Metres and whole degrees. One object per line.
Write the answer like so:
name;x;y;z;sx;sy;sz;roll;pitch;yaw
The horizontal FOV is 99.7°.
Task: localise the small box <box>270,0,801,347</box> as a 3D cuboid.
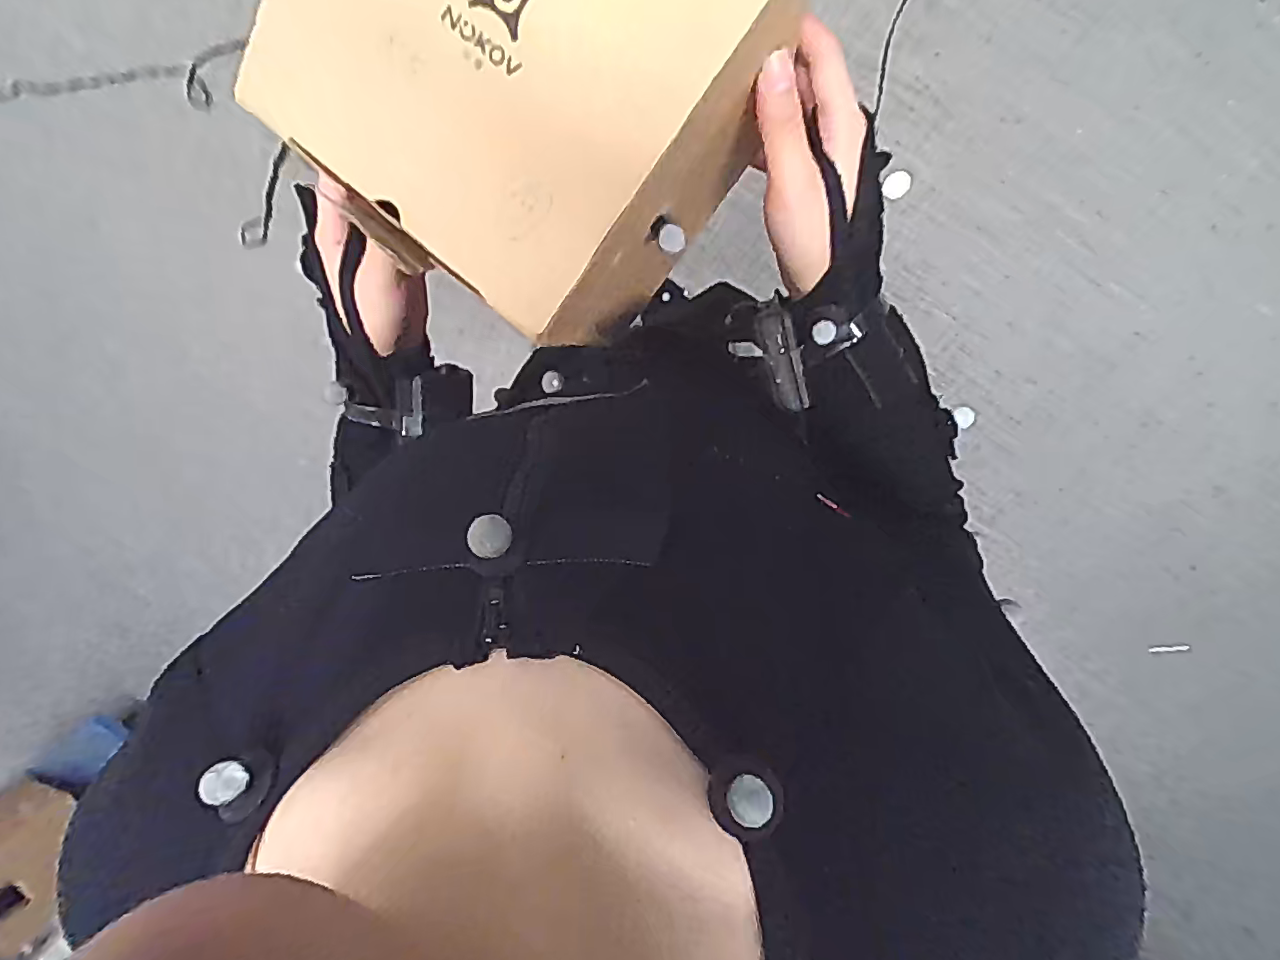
small box;-0.036;-0.191;0.290;0.168;0.176;0.179;39;107;-2
